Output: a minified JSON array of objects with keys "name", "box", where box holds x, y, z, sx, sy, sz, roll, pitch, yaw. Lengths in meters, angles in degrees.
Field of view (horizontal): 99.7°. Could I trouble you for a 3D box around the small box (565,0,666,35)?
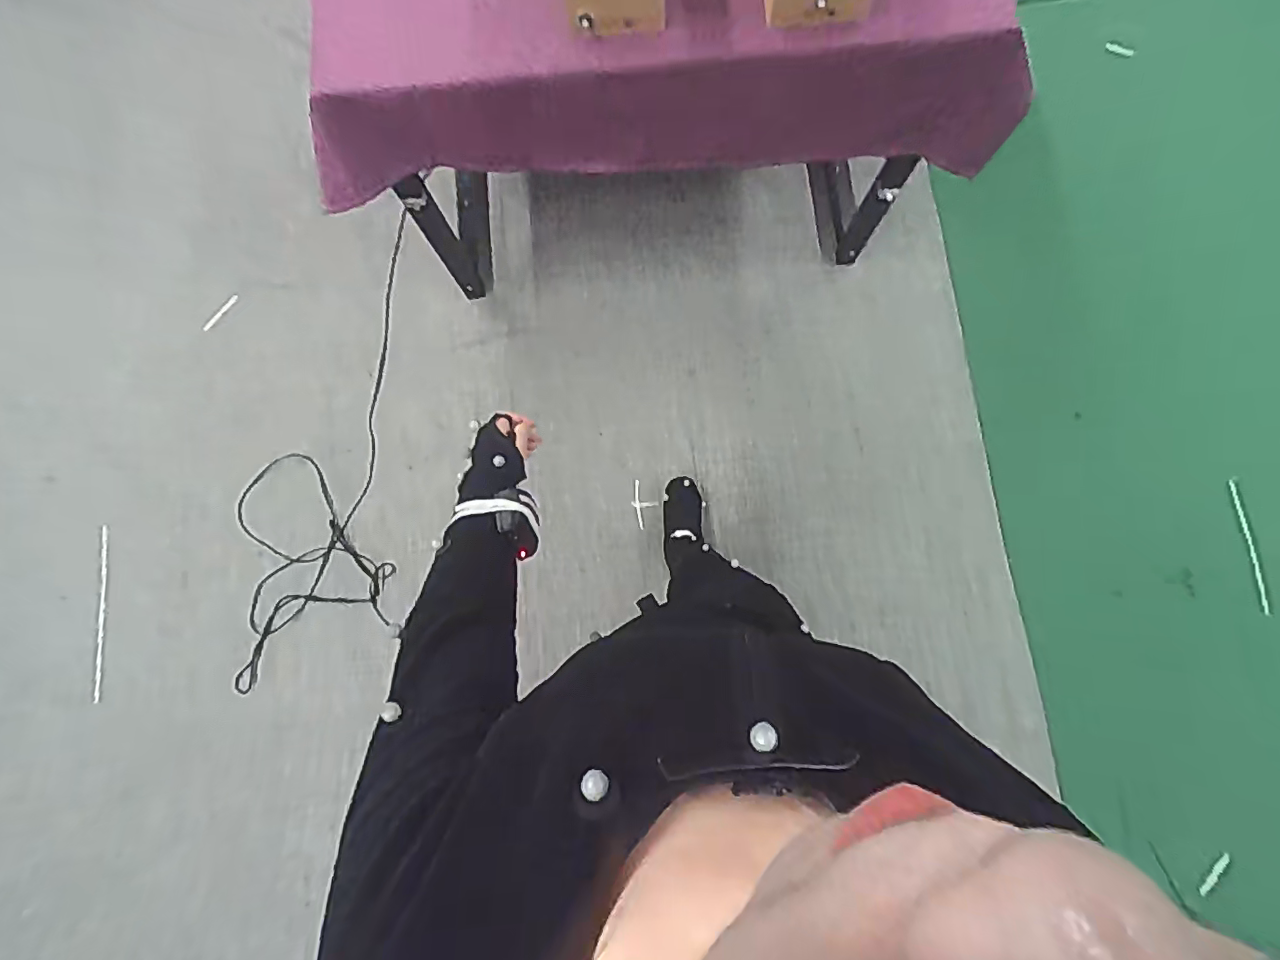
[{"name":"small box","box":[-0.044,-0.854,0.862,0.168,0.176,0.179,-3,79,1]}]
